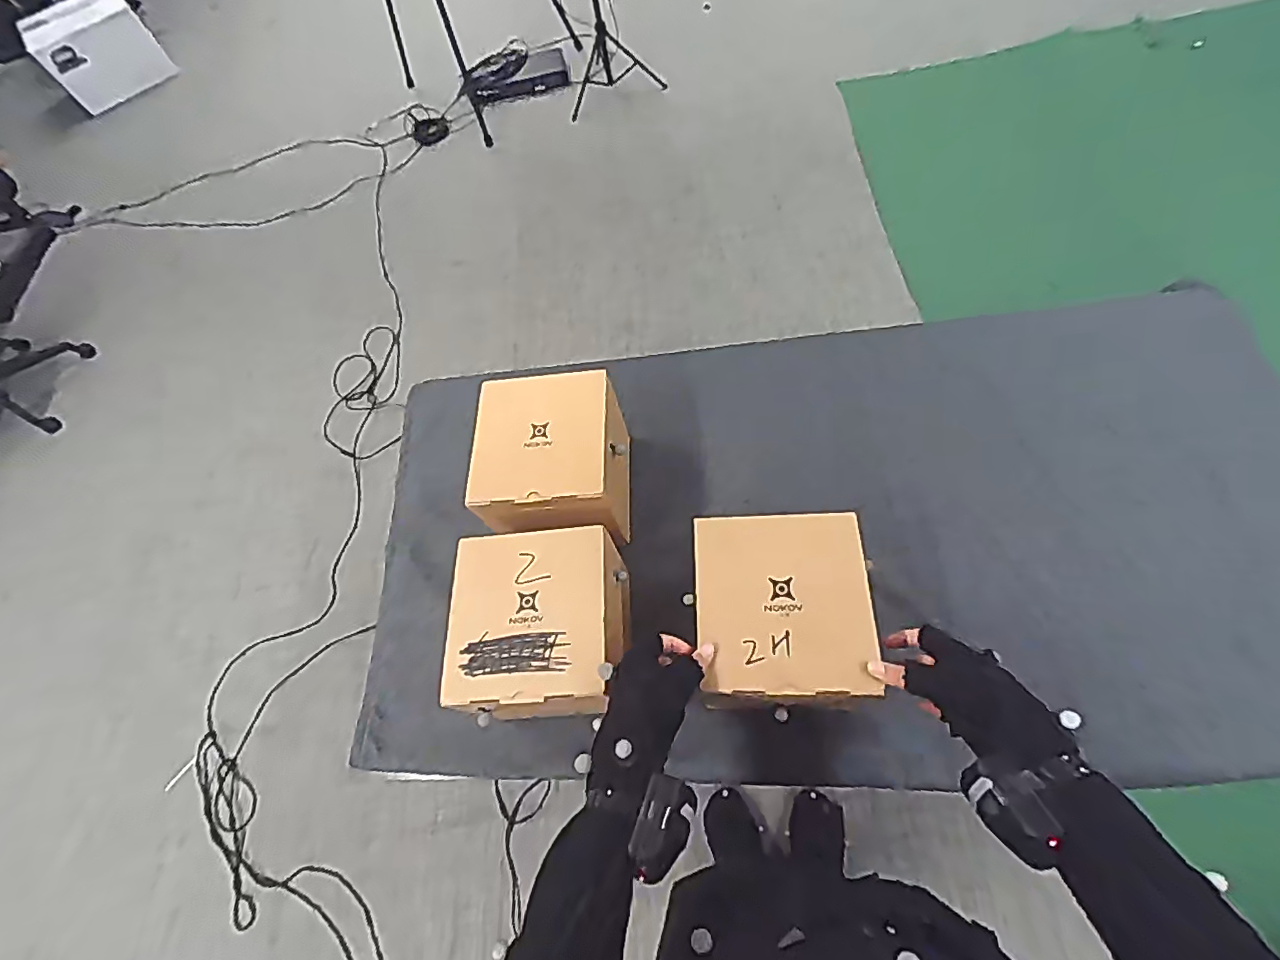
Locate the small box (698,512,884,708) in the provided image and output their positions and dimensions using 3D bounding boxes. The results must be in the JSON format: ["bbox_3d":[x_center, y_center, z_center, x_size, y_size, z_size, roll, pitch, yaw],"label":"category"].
[{"bbox_3d":[0.148,0.148,0.593,0.168,0.176,0.179,-3,64,8],"label":"small box"}]

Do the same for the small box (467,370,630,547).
[{"bbox_3d":[-0.108,-0.021,0.720,0.168,0.176,0.179,-4,65,7],"label":"small box"}]
